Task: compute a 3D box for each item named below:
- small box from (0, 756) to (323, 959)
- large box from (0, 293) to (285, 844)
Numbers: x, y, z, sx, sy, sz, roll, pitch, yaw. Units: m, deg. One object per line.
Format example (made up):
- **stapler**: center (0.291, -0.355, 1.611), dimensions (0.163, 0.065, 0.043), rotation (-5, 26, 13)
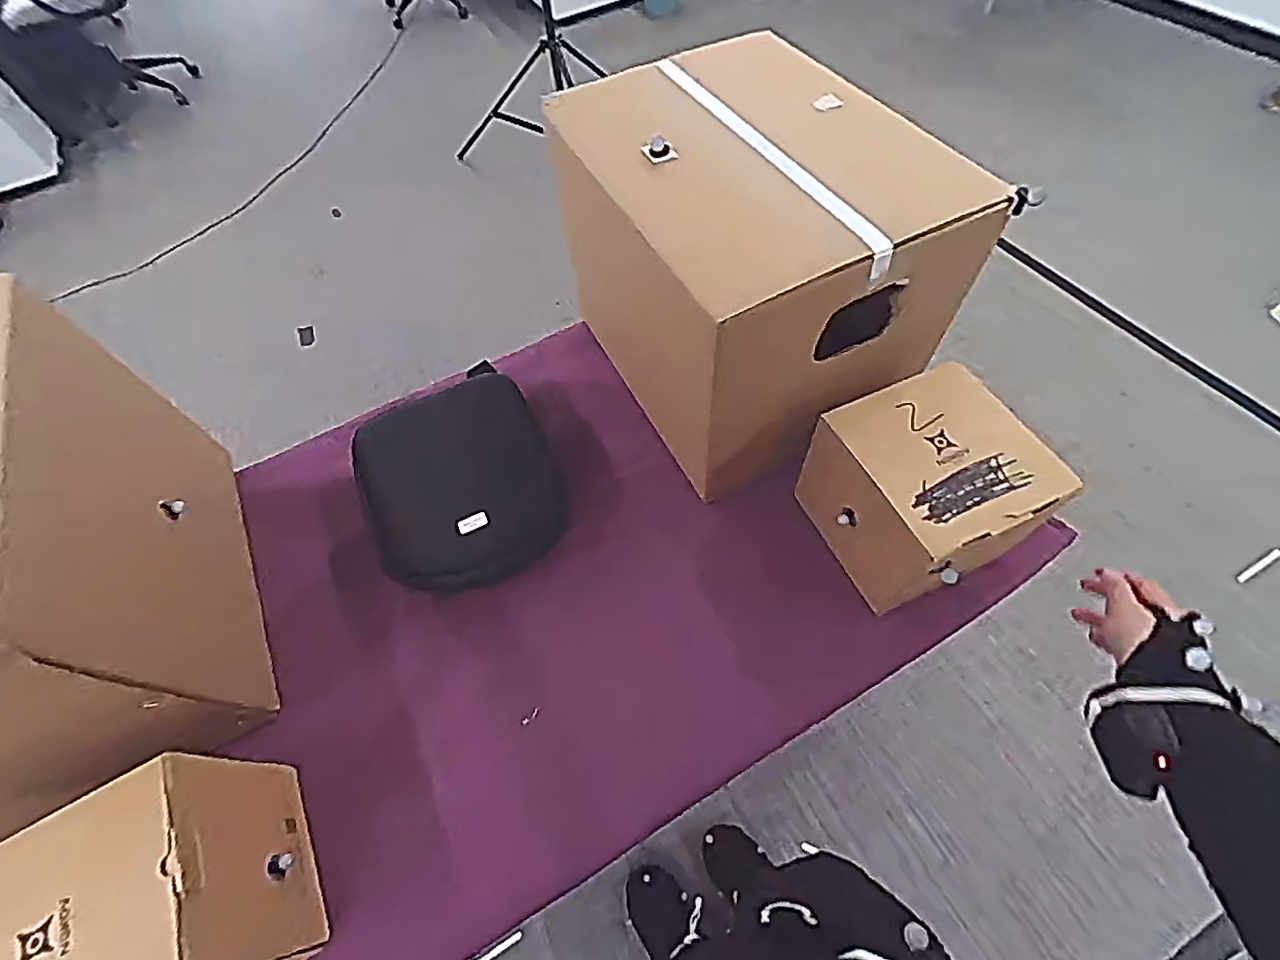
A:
- **small box**: center (-0.402, 0.358, 0.439), dimensions (0.179, 0.176, 0.168), rotation (-29, 60, -13)
- **large box**: center (-0.624, 0.104, 0.525), dimensions (0.320, 0.320, 0.408), rotation (-27, 63, -13)
